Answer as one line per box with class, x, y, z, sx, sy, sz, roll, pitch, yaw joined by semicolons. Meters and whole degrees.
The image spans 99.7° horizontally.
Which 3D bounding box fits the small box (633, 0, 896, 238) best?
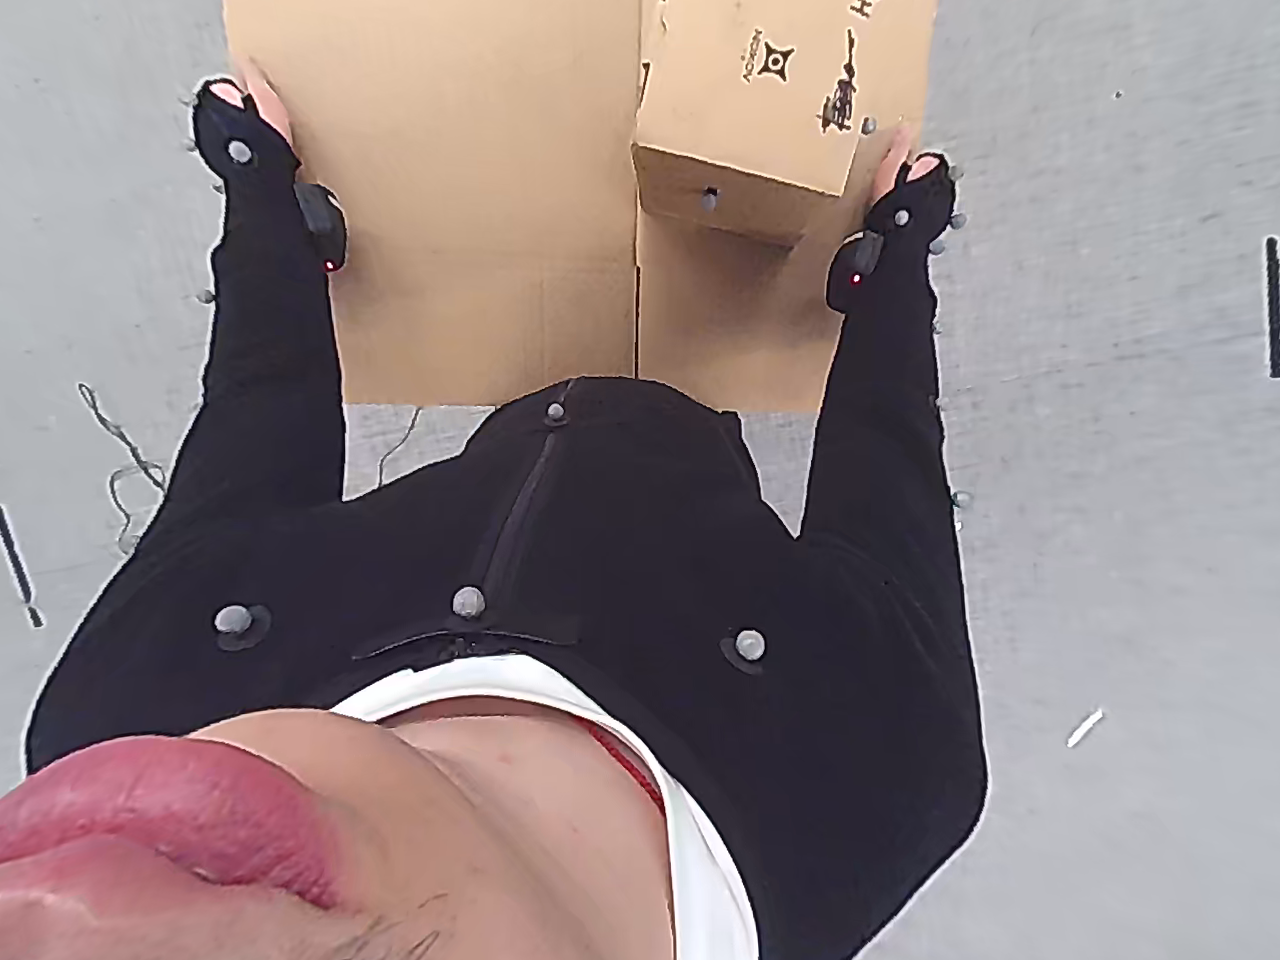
small box;0.103;-0.344;0.501;0.179;0.176;0.168;15;101;2
